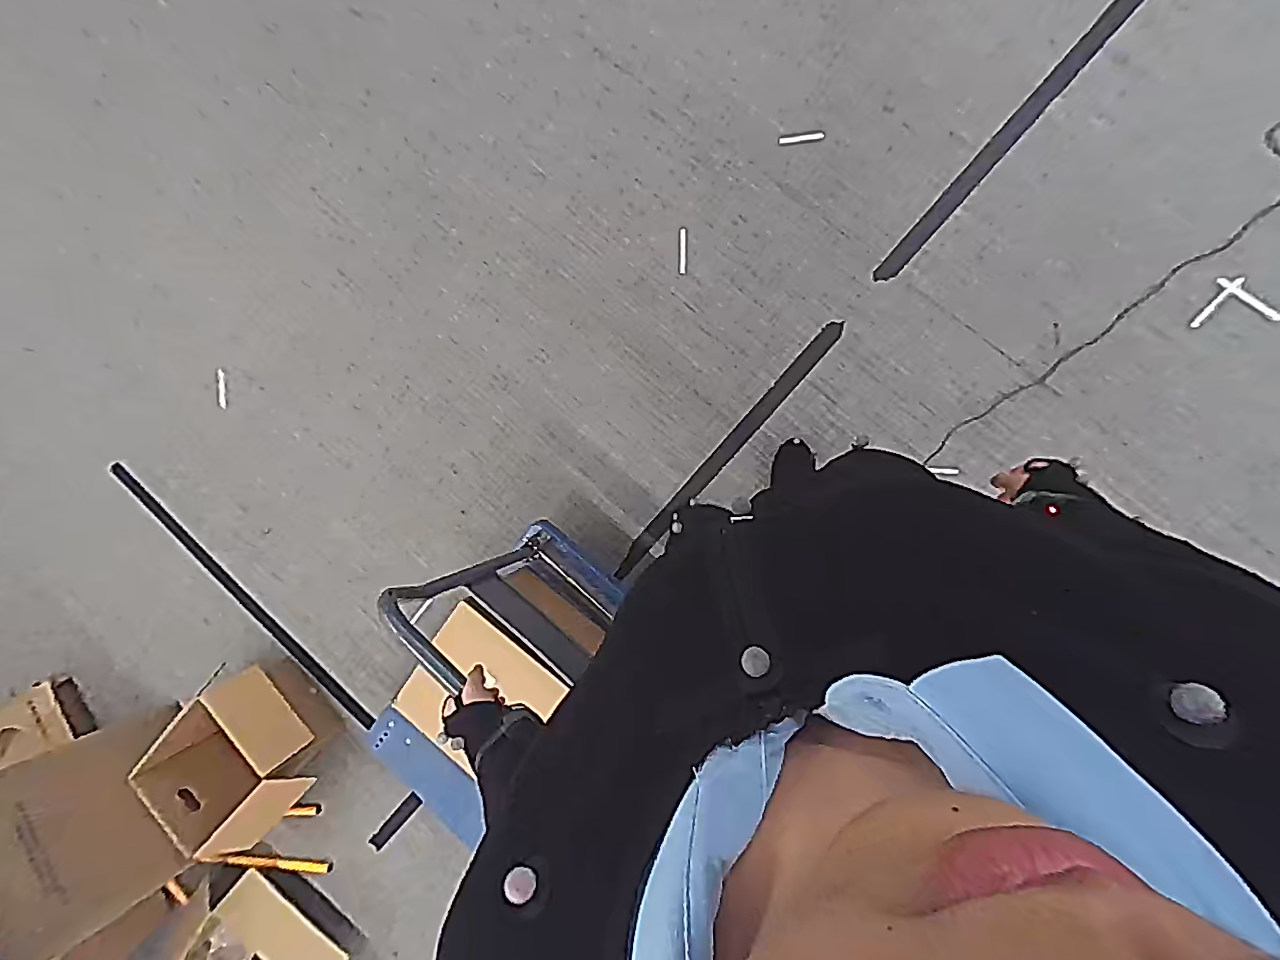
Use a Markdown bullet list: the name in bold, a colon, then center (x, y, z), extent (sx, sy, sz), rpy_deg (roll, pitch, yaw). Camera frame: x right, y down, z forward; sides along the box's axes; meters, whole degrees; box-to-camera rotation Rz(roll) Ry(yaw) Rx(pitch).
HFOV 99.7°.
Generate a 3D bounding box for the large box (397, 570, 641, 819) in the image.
- **large box**: center (-0.267, 0.480, 1.294), extent (0.408, 0.320, 0.320), rpy_deg (37, 100, 8)
